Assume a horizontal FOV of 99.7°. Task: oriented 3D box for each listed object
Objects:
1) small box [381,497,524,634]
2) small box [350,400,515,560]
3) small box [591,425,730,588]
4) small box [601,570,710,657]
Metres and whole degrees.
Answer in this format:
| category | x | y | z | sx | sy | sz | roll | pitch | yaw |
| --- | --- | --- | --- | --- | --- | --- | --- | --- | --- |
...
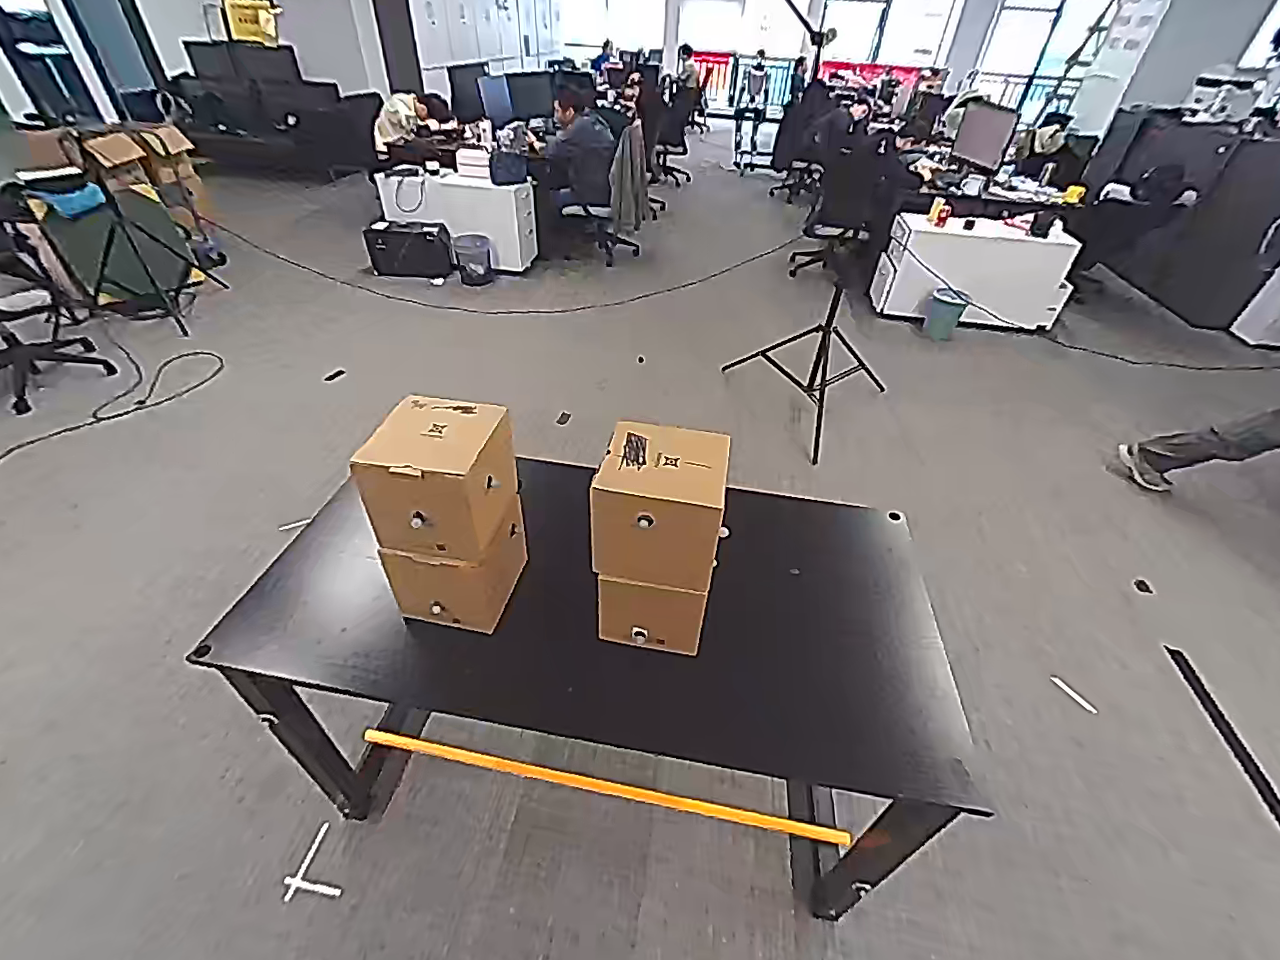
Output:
| category | x | y | z | sx | sy | sz | roll | pitch | yaw |
| --- | --- | --- | --- | --- | --- | --- | --- | --- | --- |
| small box | -0.305 | 0.132 | 0.926 | 0.168 | 0.176 | 0.179 | 9 | 40 | 7 |
| small box | -0.298 | 0.001 | 0.828 | 0.168 | 0.176 | 0.179 | 7 | 41 | 4 |
| small box | 0.033 | 0.040 | 0.808 | 0.179 | 0.176 | 0.168 | 9 | 40 | 7 |
| small box | 0.030 | 0.168 | 0.913 | 0.168 | 0.176 | 0.179 | 7 | 41 | 6 |
